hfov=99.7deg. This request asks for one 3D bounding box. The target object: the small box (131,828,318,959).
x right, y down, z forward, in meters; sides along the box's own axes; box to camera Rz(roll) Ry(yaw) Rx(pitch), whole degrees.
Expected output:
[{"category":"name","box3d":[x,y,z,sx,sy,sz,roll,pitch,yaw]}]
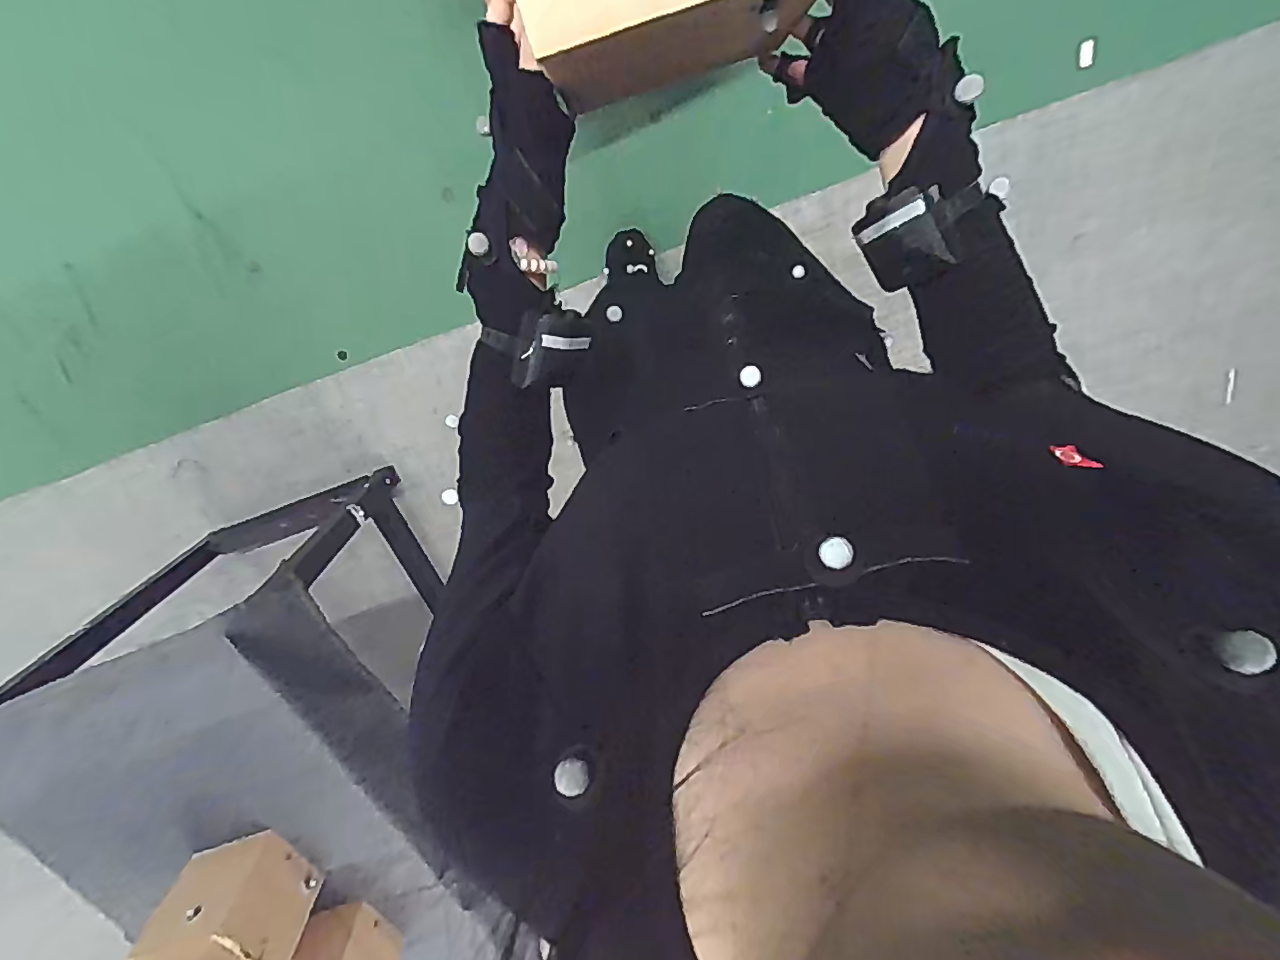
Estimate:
[{"category":"small box","box3d":[-0.714,0.760,0.962,0.179,0.176,0.168,-20,113,6]}]

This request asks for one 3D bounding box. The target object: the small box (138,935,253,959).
[{"category":"small box","box3d":[-0.714,0.842,0.819,0.179,0.176,0.168,-22,114,6]}]

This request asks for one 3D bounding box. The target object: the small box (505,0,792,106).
[{"category":"small box","box3d":[0.000,-0.349,0.317,0.179,0.176,0.168,-15,115,6]}]
